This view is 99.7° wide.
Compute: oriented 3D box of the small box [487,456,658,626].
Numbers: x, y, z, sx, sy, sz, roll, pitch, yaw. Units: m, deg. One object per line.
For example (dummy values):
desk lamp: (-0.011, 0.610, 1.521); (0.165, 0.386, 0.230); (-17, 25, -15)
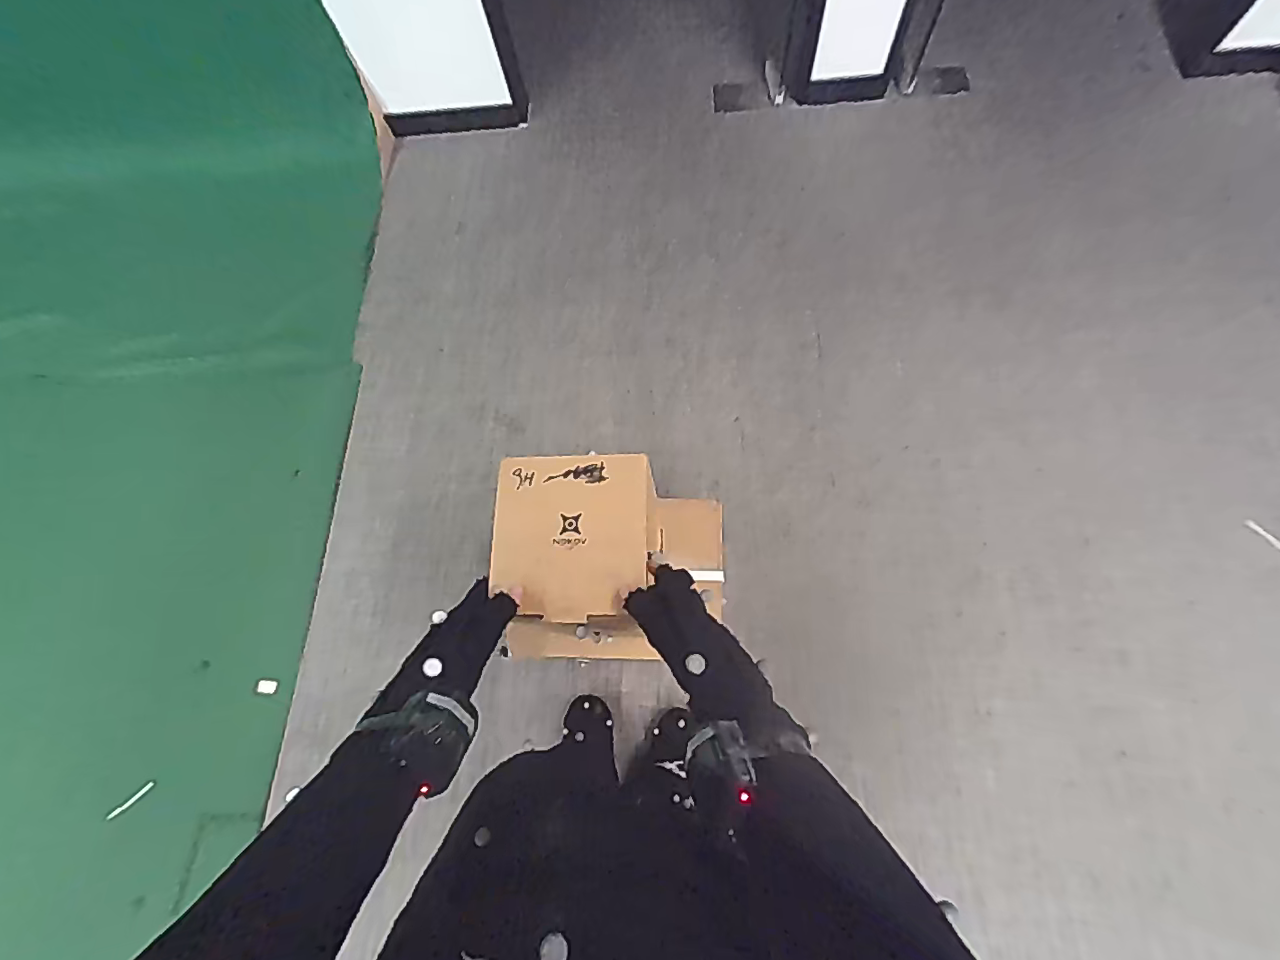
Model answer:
small box: (-0.066, 0.082, 0.645); (0.168, 0.176, 0.179); (-2, 72, 6)

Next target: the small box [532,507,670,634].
small box: (-0.045, 0.138, 0.797); (0.179, 0.176, 0.168); (-2, 72, 7)
